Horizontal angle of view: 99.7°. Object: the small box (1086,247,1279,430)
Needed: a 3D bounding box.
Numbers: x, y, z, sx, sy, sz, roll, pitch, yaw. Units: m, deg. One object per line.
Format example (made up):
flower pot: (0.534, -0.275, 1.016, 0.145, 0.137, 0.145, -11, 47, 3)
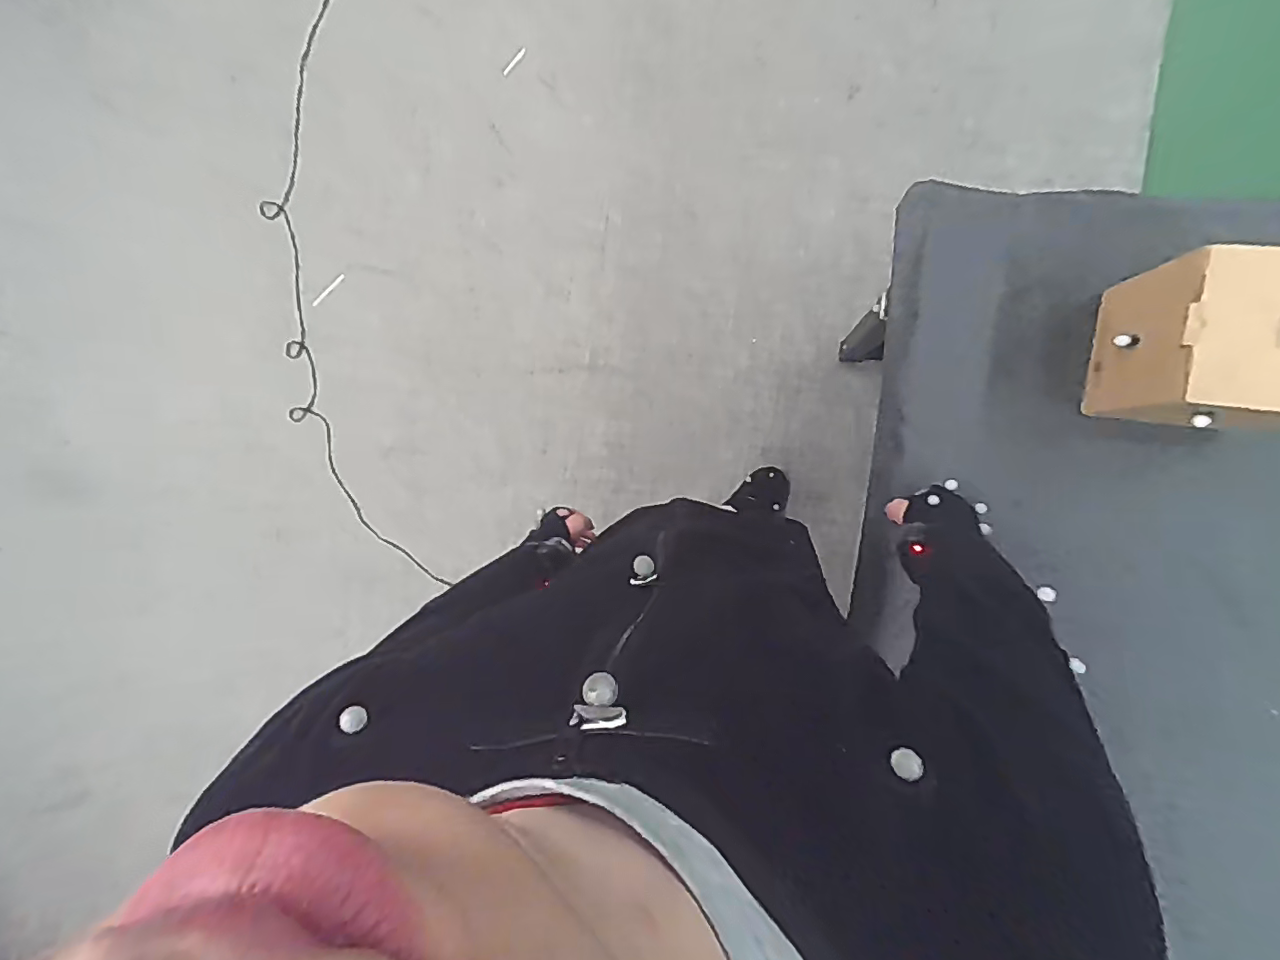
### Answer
small box: (0.669, -0.151, 0.625, 0.179, 0.176, 0.168, 8, 94, 10)
